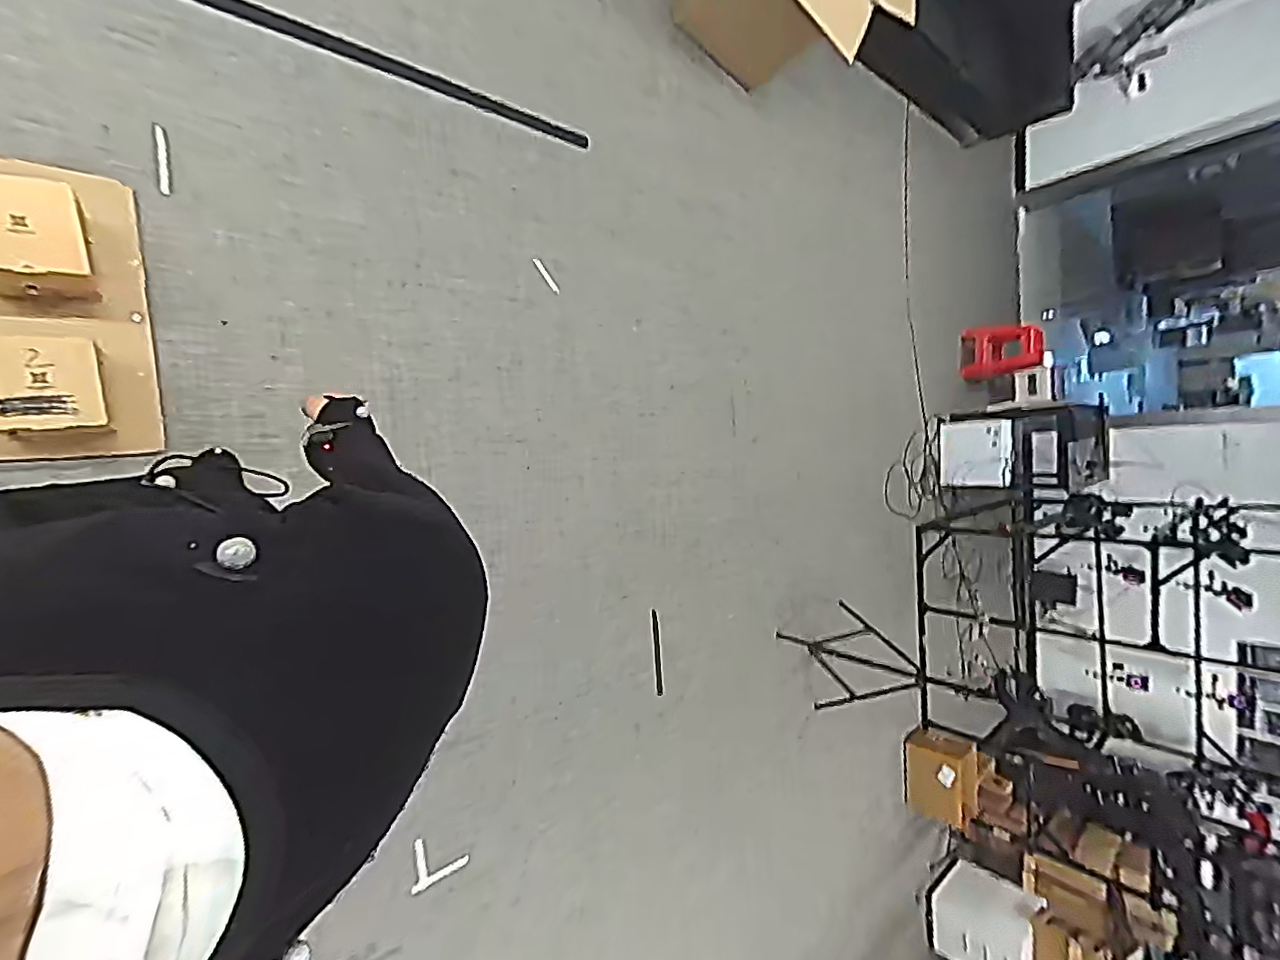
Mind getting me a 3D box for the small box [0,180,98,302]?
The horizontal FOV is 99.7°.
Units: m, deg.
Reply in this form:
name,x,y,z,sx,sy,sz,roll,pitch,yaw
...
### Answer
name,x,y,z,sx,sy,sz,roll,pitch,yaw
small box,-1.198,-0.461,1.055,0.168,0.176,0.179,-12,98,-39
